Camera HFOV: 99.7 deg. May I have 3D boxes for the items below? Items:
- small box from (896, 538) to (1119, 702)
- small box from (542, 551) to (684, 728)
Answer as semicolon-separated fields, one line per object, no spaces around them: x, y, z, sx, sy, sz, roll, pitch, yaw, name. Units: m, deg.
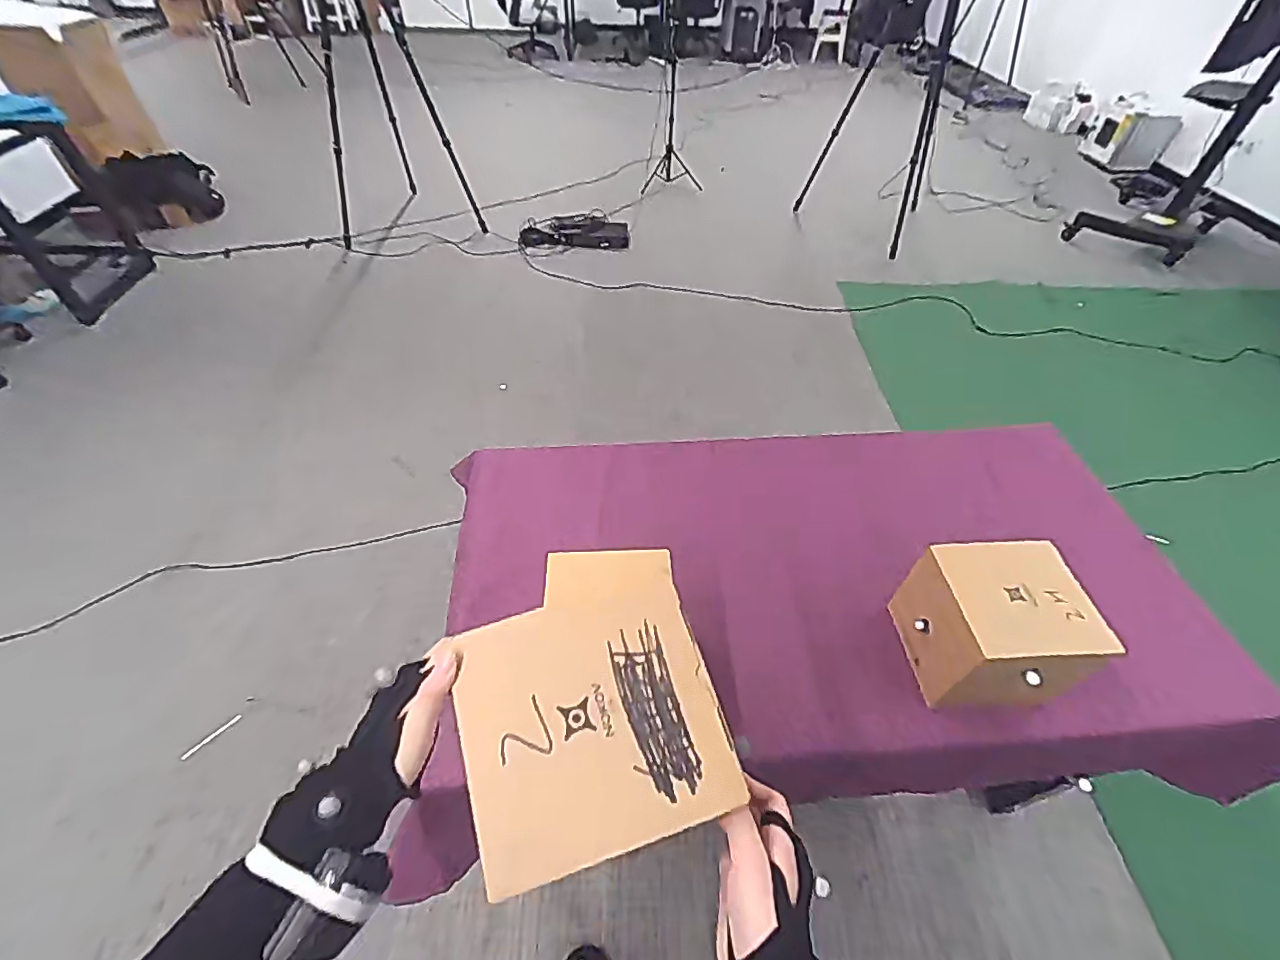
0.483;0.198;0.753;0.179;0.176;0.168;-2;48;-3;small box
-0.038;0.215;0.728;0.168;0.176;0.179;-2;49;-3;small box
